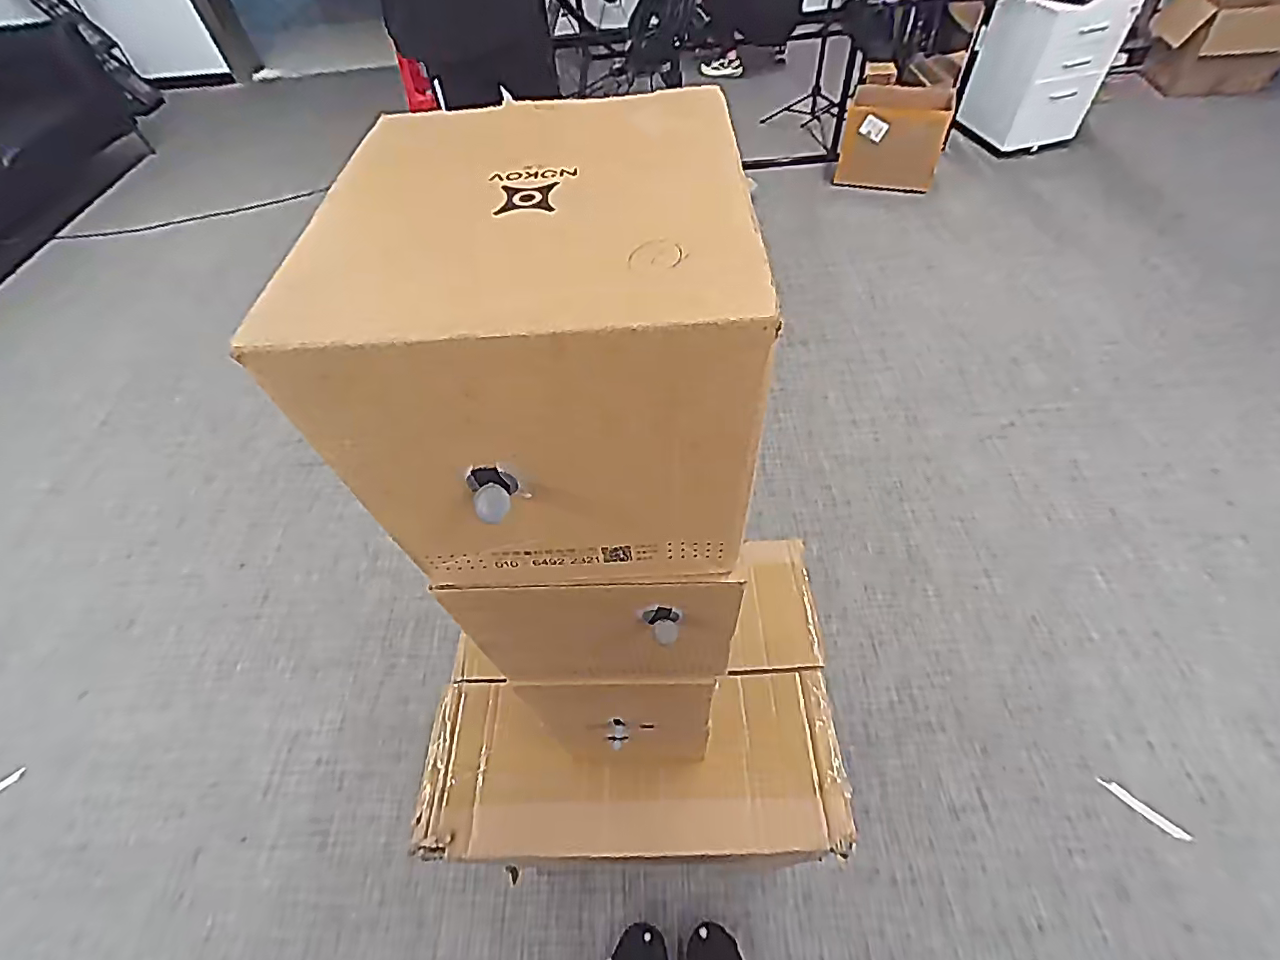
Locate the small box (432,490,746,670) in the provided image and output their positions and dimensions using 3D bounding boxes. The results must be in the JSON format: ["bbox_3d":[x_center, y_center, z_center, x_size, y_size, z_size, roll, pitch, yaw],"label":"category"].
[{"bbox_3d":[-0.024,0.034,0.404,0.179,0.176,0.168,-2,53,3],"label":"small box"}]

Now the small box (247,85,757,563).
[{"bbox_3d":[-0.039,-0.067,0.278,0.168,0.176,0.179,-4,53,2],"label":"small box"}]

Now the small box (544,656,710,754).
[{"bbox_3d":[-0.007,0.233,0.666,0.179,0.176,0.168,-2,53,3],"label":"small box"}]
